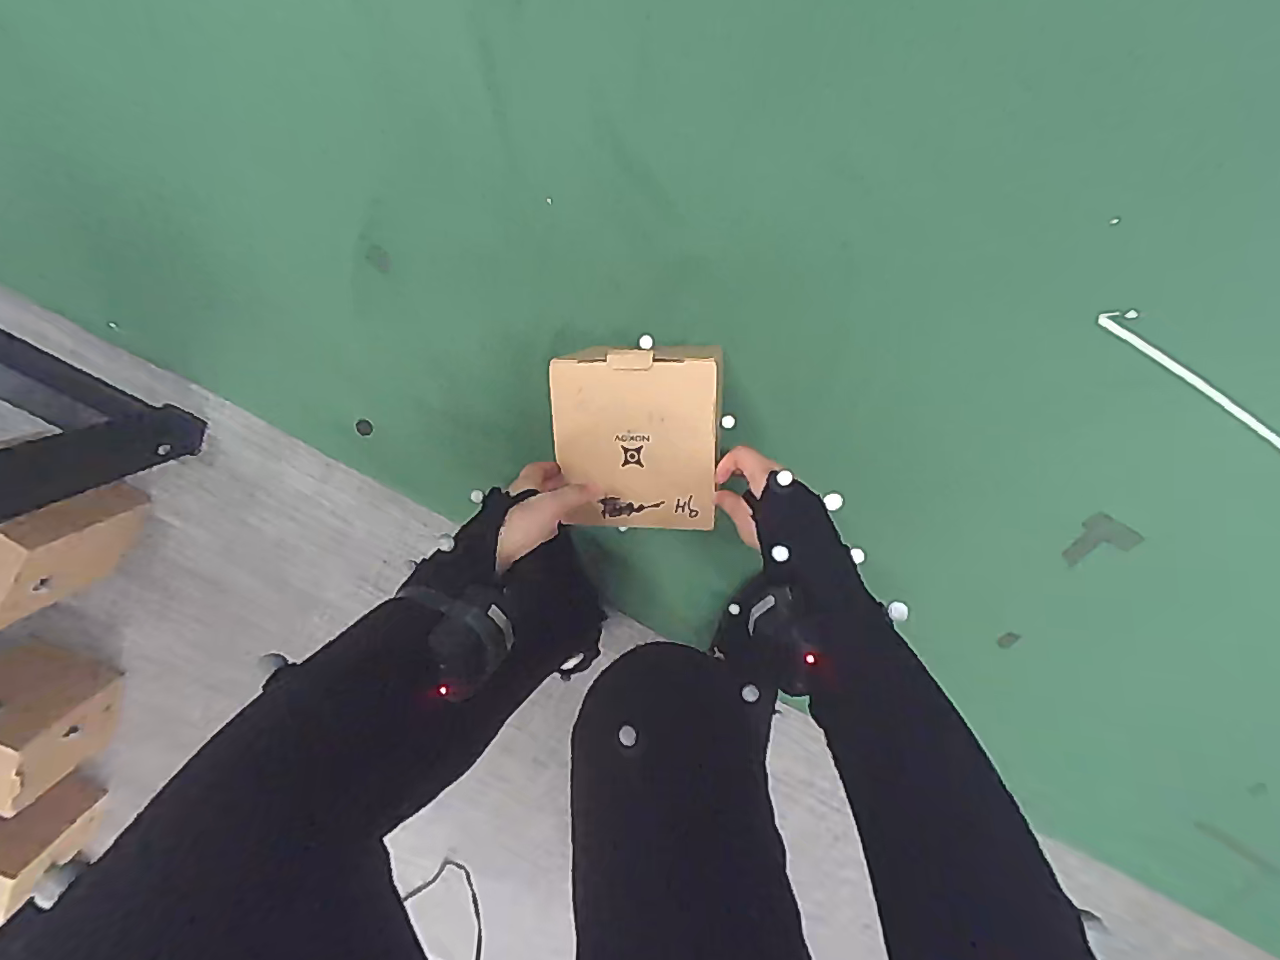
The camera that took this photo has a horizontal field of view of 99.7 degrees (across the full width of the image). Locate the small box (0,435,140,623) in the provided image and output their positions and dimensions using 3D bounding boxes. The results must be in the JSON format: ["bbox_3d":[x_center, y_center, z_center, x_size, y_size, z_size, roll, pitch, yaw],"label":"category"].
[{"bbox_3d":[-0.846,0.068,0.731,0.168,0.176,0.179,42,107,-11],"label":"small box"}]

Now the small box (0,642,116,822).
[{"bbox_3d":[-1.008,0.393,0.868,0.179,0.176,0.168,27,110,-5],"label":"small box"}]

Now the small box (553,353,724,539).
[{"bbox_3d":[0.008,-0.049,0.610,0.168,0.176,0.179,2,109,9],"label":"small box"}]

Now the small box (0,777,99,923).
[{"bbox_3d":[-1.154,0.653,0.981,0.179,0.176,0.168,33,110,-8],"label":"small box"}]
